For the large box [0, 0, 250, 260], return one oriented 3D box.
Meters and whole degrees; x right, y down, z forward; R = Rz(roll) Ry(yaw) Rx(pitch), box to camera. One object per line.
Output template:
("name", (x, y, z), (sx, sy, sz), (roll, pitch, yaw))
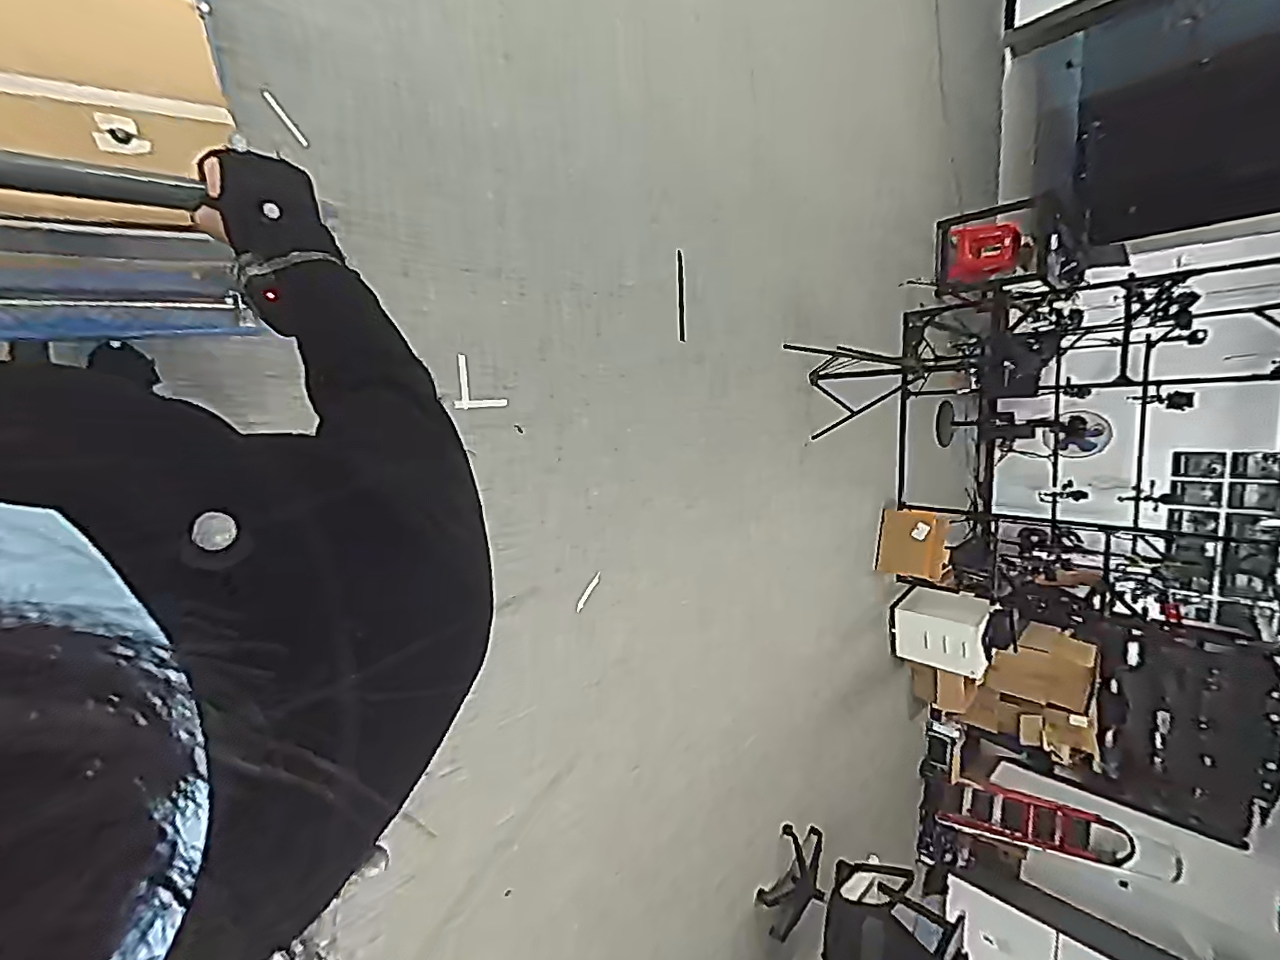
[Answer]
("large box", (-0.876, -0.515, 0.788), (0.408, 0.320, 0.320), (-20, 108, -43))
